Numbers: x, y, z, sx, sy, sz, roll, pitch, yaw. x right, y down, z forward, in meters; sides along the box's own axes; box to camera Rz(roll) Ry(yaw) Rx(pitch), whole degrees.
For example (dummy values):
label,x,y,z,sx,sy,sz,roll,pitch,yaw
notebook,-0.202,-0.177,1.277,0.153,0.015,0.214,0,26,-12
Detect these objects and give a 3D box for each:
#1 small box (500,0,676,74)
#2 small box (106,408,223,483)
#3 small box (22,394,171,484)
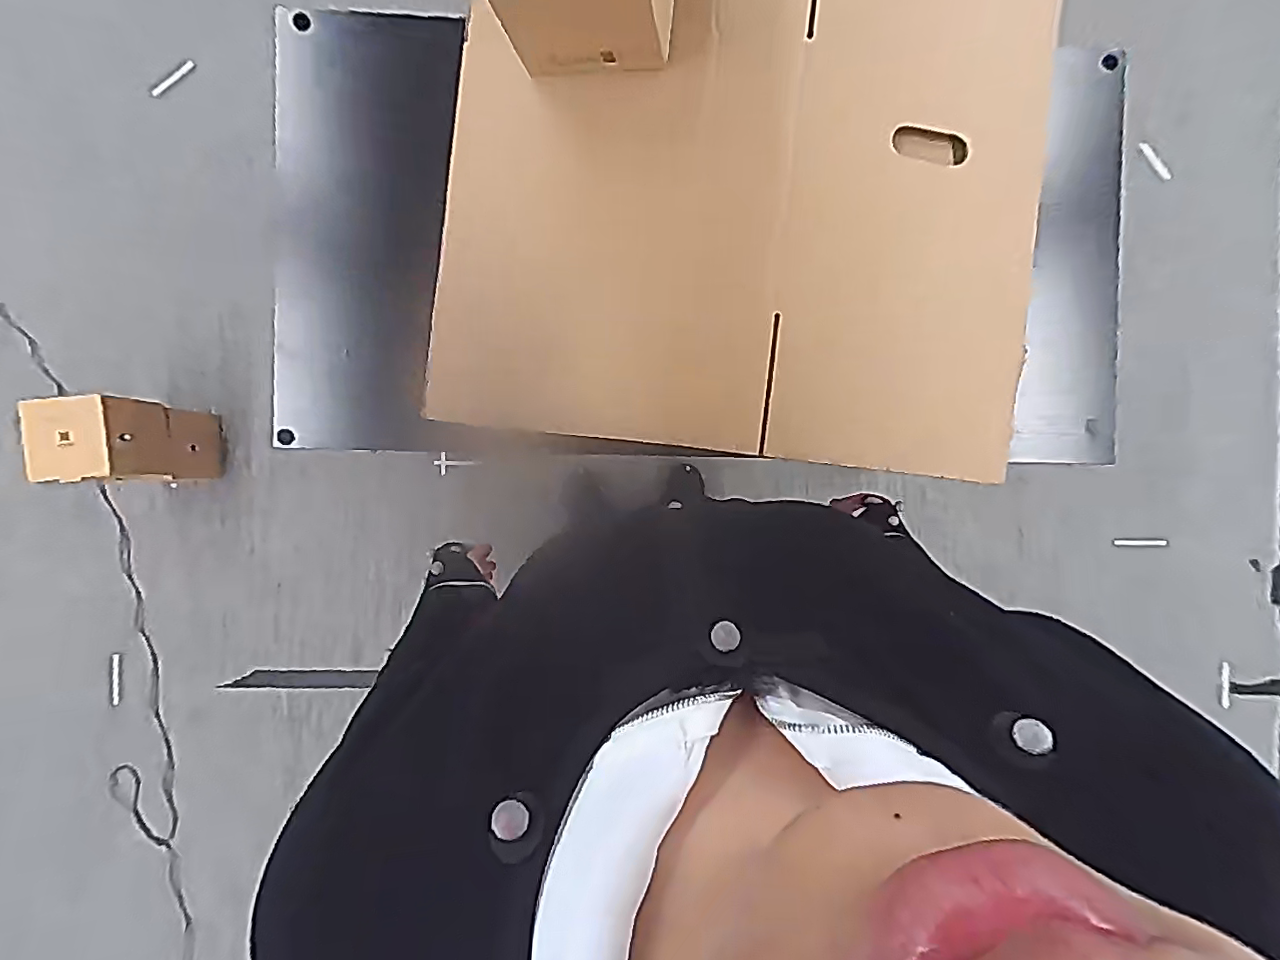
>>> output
label,x,y,z,sx,sy,sz,roll,pitch,yaw
small box,-0.055,-0.543,0.525,0.168,0.176,0.179,7,89,13
small box,-1.201,-0.084,1.368,0.168,0.176,0.179,-3,92,-2
small box,-1.197,-0.087,1.206,0.168,0.176,0.179,-6,90,-3
